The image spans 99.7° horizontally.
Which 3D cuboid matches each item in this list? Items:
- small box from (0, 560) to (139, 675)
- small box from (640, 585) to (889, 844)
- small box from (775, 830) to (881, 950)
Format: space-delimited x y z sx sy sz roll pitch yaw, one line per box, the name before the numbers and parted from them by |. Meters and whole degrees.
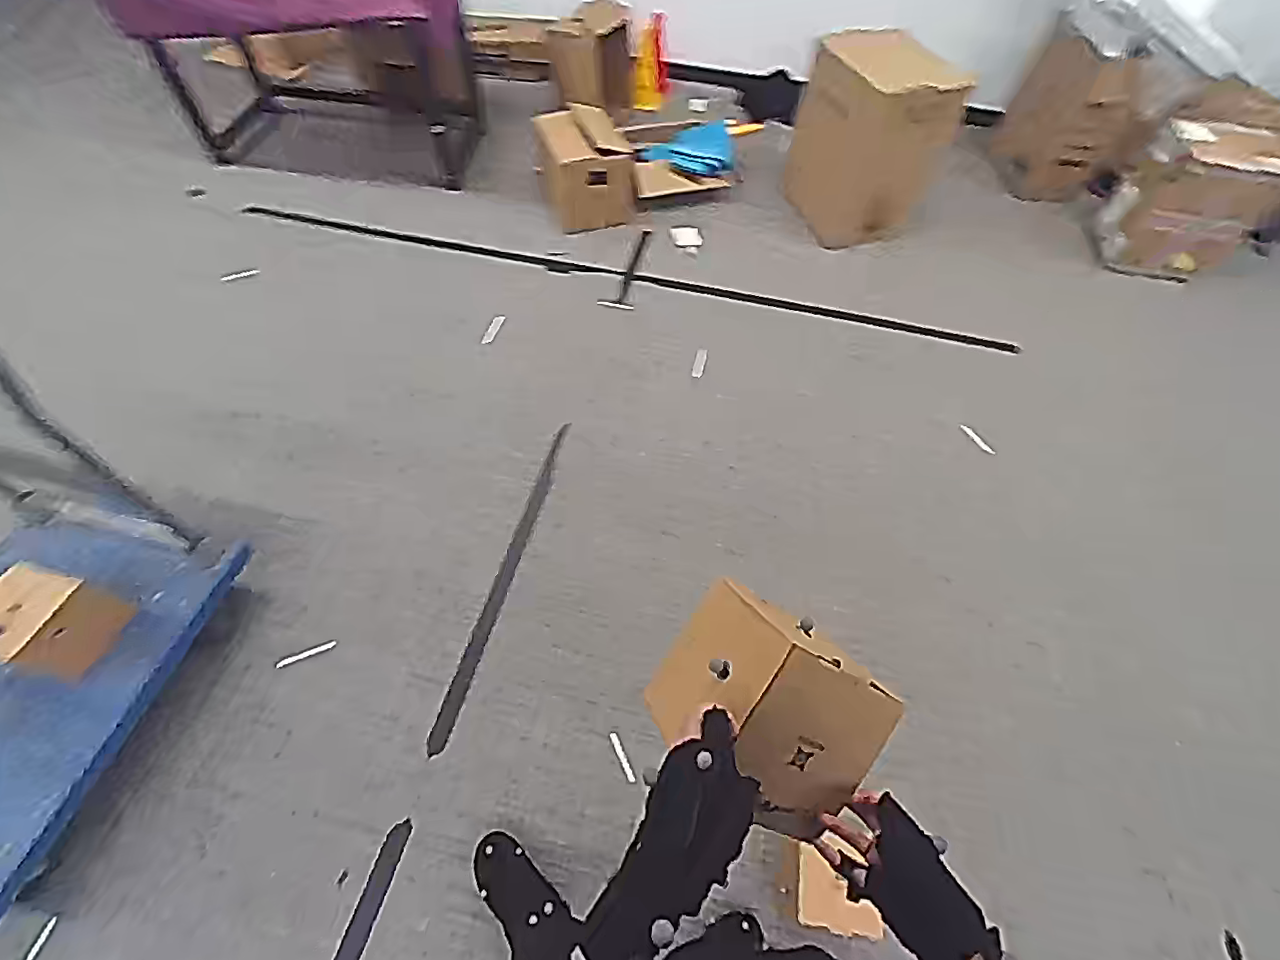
small box | -1.269 0.305 1.176 0.168 0.176 0.179 14 57 7
small box | 0.122 0.243 0.595 0.168 0.176 0.179 31 90 -20
small box | 0.389 0.850 1.141 0.168 0.176 0.179 11 56 3
